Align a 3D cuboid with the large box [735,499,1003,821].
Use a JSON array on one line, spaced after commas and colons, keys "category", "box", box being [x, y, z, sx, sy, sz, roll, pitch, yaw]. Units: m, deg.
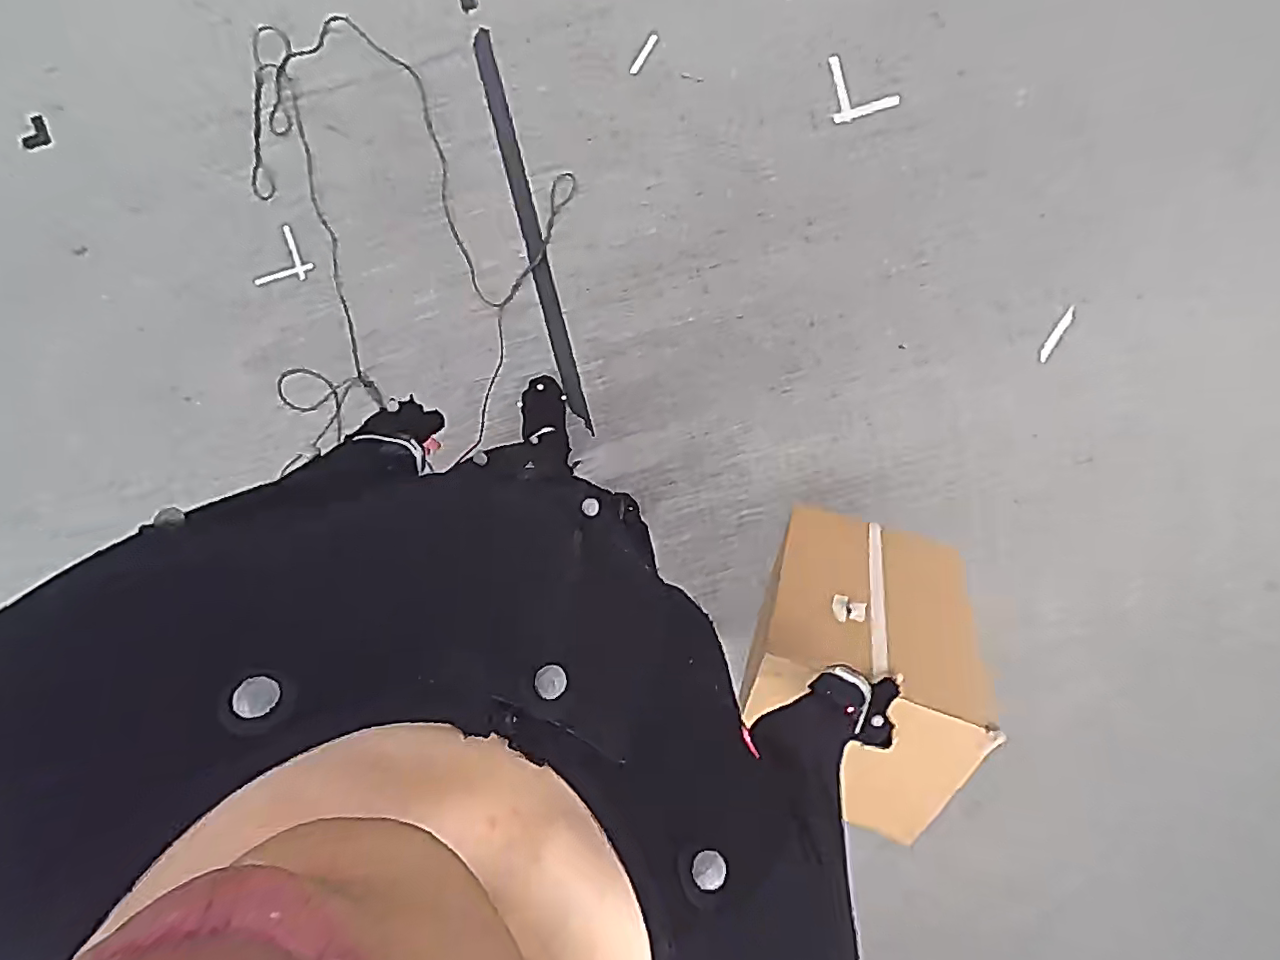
[{"category": "large box", "box": [0.381, 0.300, 0.982, 0.320, 0.408, 0.320, 15, 126, 13]}]
